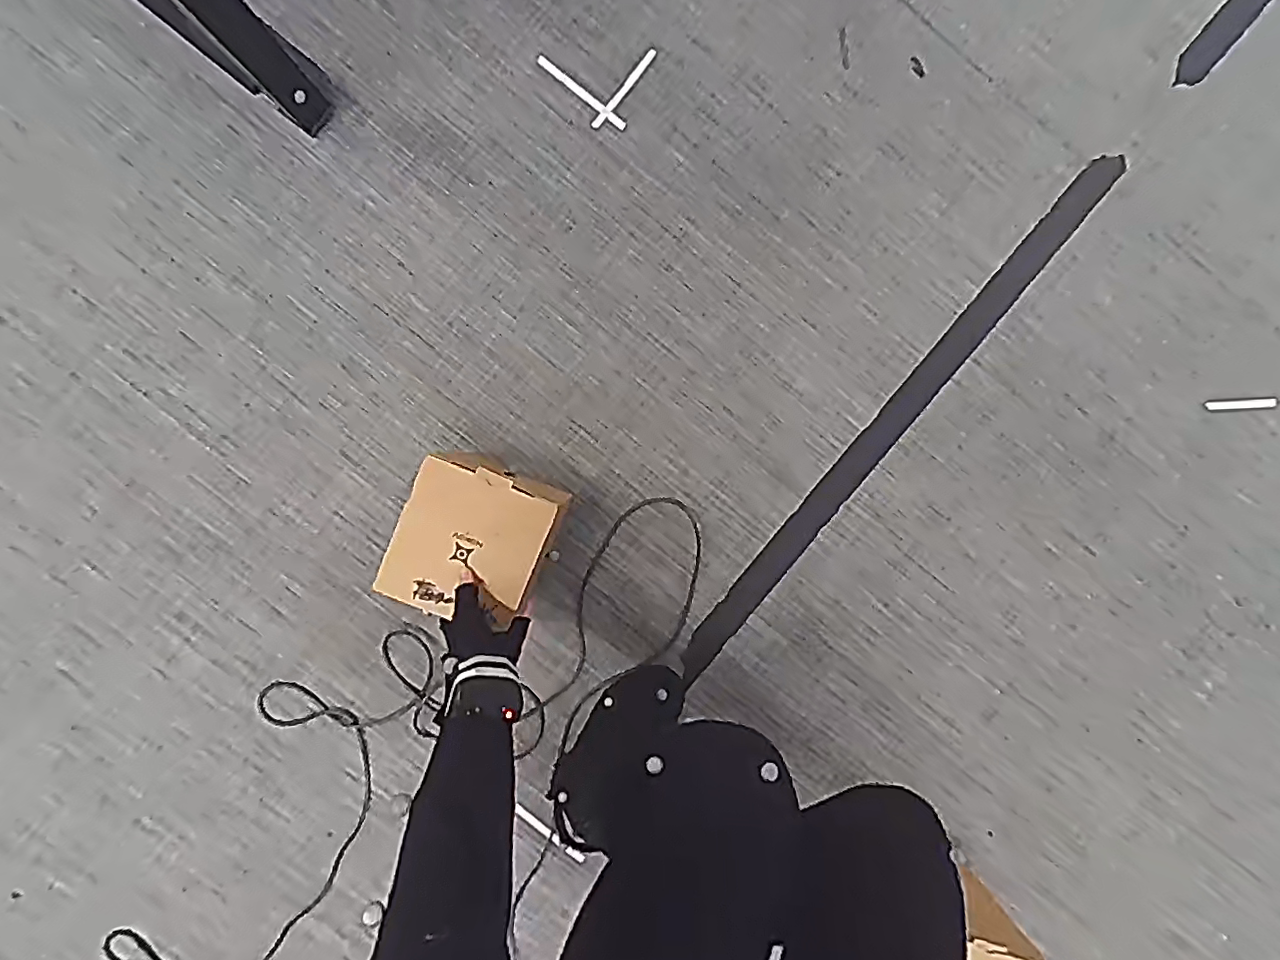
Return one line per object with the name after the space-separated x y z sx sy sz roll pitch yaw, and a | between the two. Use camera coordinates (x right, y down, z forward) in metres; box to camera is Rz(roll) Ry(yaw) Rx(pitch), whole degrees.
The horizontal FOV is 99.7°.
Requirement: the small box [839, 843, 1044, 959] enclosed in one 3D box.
0.398 0.648 0.738 0.168 0.176 0.179 19 93 -1 | small box

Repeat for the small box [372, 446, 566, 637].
-0.204 0.069 0.698 0.168 0.176 0.179 23 91 -3 | small box
